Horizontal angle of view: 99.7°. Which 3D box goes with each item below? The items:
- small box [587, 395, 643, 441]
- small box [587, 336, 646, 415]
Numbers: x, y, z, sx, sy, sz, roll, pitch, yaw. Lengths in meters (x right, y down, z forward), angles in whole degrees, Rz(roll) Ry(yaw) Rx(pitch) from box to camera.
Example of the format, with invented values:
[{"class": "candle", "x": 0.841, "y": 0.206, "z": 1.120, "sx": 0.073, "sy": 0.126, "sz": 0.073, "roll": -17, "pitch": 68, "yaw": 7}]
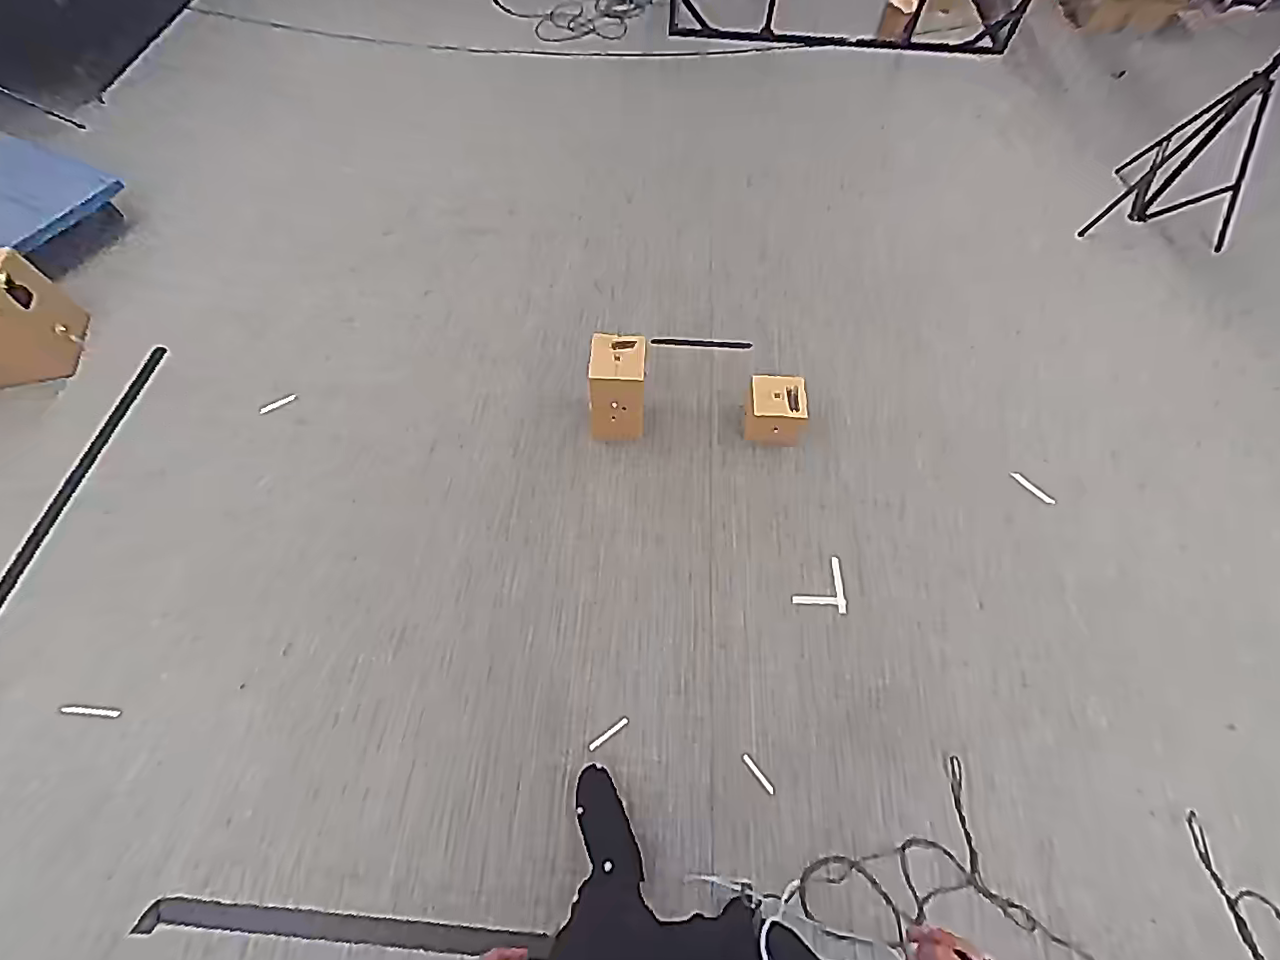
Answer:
[{"class": "small box", "x": -0.080, "y": -0.245, "z": 1.838, "sx": 0.179, "sy": 0.176, "sz": 0.168, "roll": 2, "pitch": 62, "yaw": 1}, {"class": "small box", "x": -0.071, "y": -0.326, "z": 1.695, "sx": 0.168, "sy": 0.176, "sz": 0.179, "roll": 3, "pitch": 62, "yaw": 1}]
